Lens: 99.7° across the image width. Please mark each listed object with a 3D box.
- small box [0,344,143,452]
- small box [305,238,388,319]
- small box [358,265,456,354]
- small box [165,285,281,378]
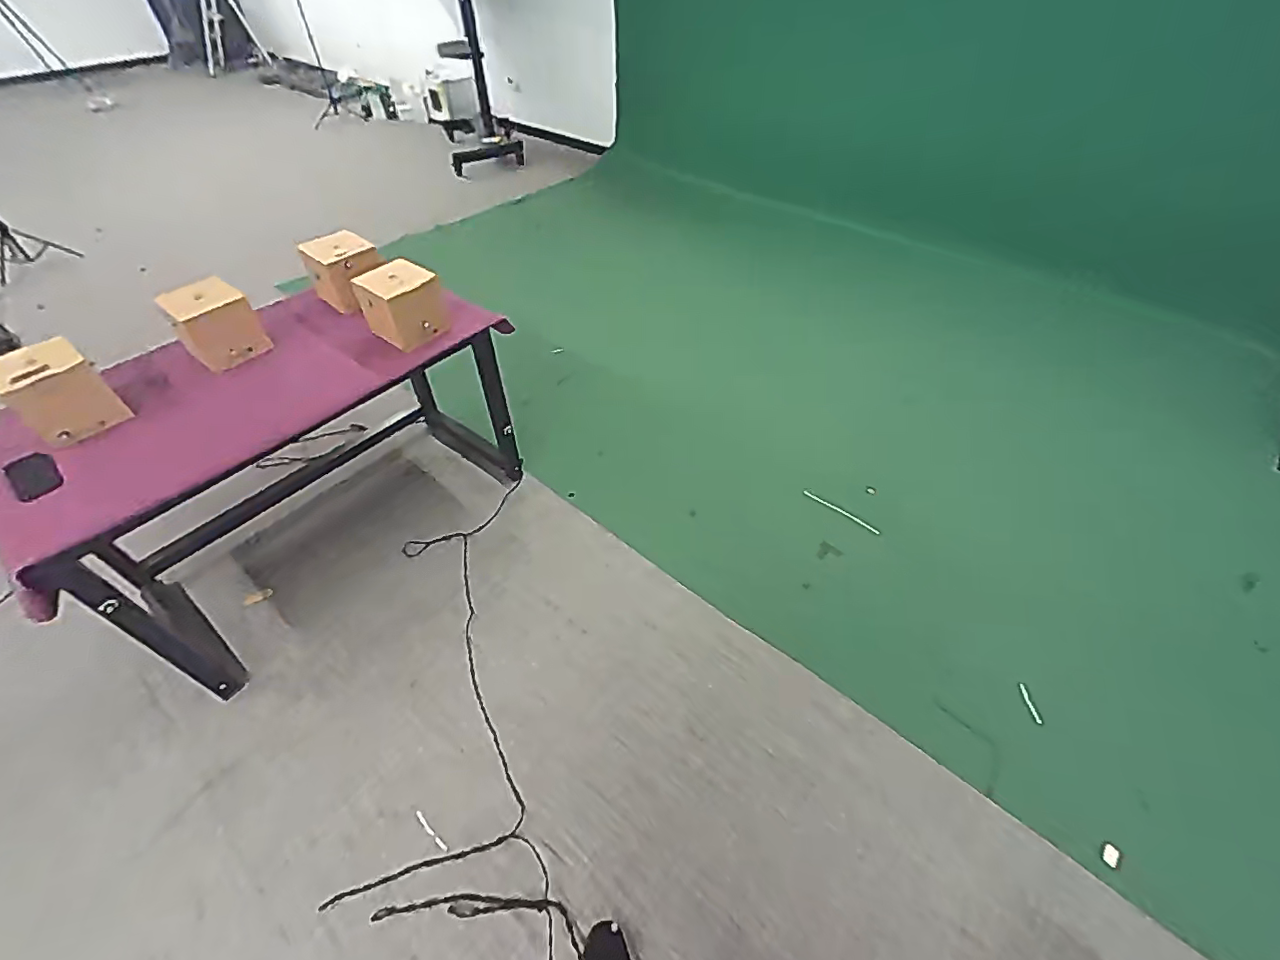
[{"bbox_3d":[-1.364,-0.192,1.302,0.179,0.176,0.168,30,54,26],"label":"small box"},{"bbox_3d":[-0.904,-0.634,1.704,0.179,0.176,0.168,32,56,27],"label":"small box"},{"bbox_3d":[-0.668,-0.491,1.563,0.179,0.176,0.168,31,56,25],"label":"small box"},{"bbox_3d":[-1.153,-0.412,1.505,0.179,0.176,0.168,31,56,25],"label":"small box"}]
